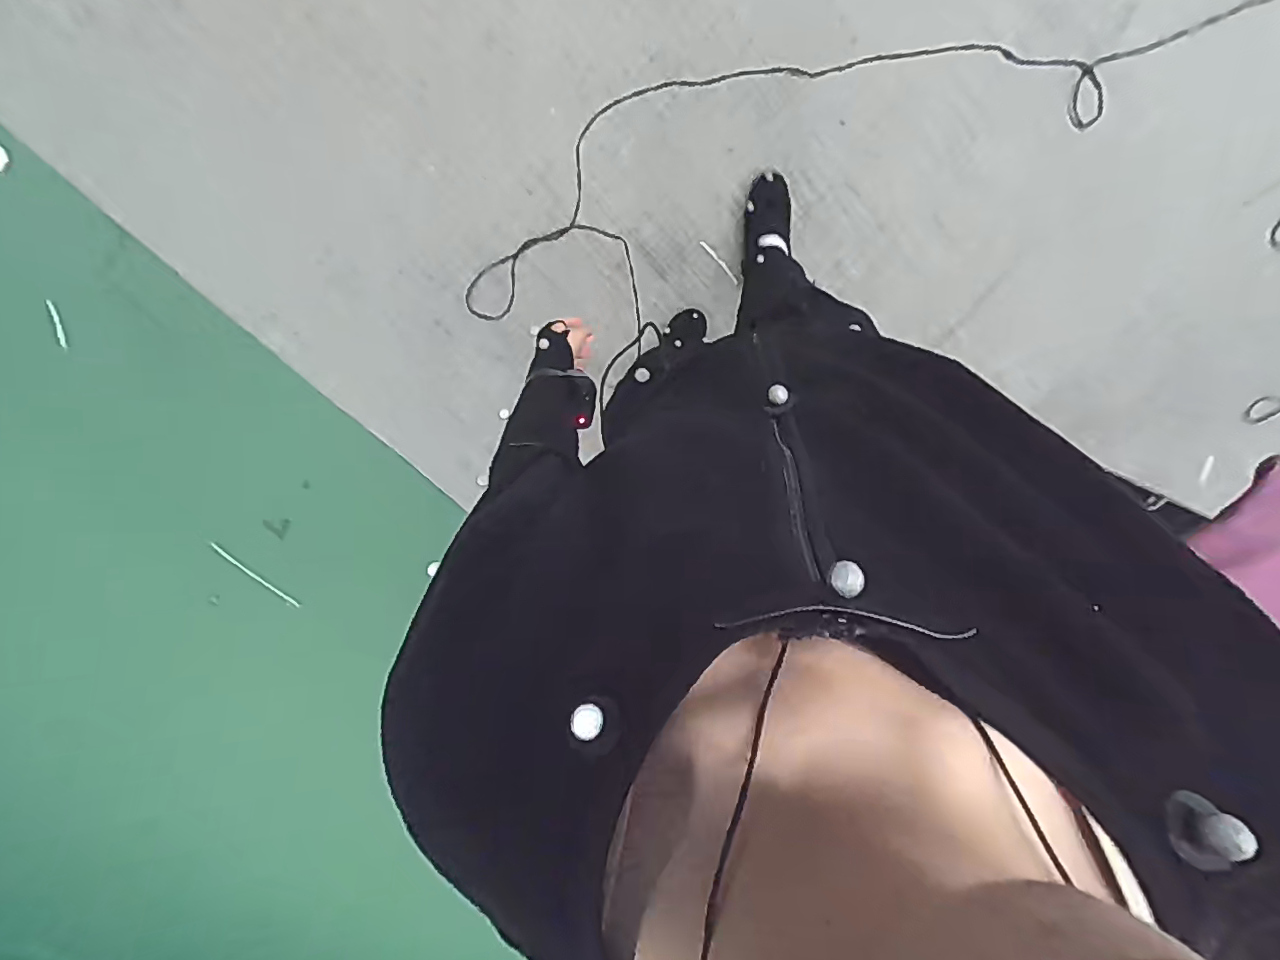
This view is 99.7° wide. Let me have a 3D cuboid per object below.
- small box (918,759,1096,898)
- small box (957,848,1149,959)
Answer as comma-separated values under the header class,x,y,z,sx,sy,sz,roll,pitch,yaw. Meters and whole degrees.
class,x,y,z,sx,sy,sz,roll,pitch,yaw
small box,0.626,0.639,0.950,0.179,0.176,0.168,-42,108,15
small box,0.618,0.688,0.793,0.179,0.176,0.168,-43,107,15
